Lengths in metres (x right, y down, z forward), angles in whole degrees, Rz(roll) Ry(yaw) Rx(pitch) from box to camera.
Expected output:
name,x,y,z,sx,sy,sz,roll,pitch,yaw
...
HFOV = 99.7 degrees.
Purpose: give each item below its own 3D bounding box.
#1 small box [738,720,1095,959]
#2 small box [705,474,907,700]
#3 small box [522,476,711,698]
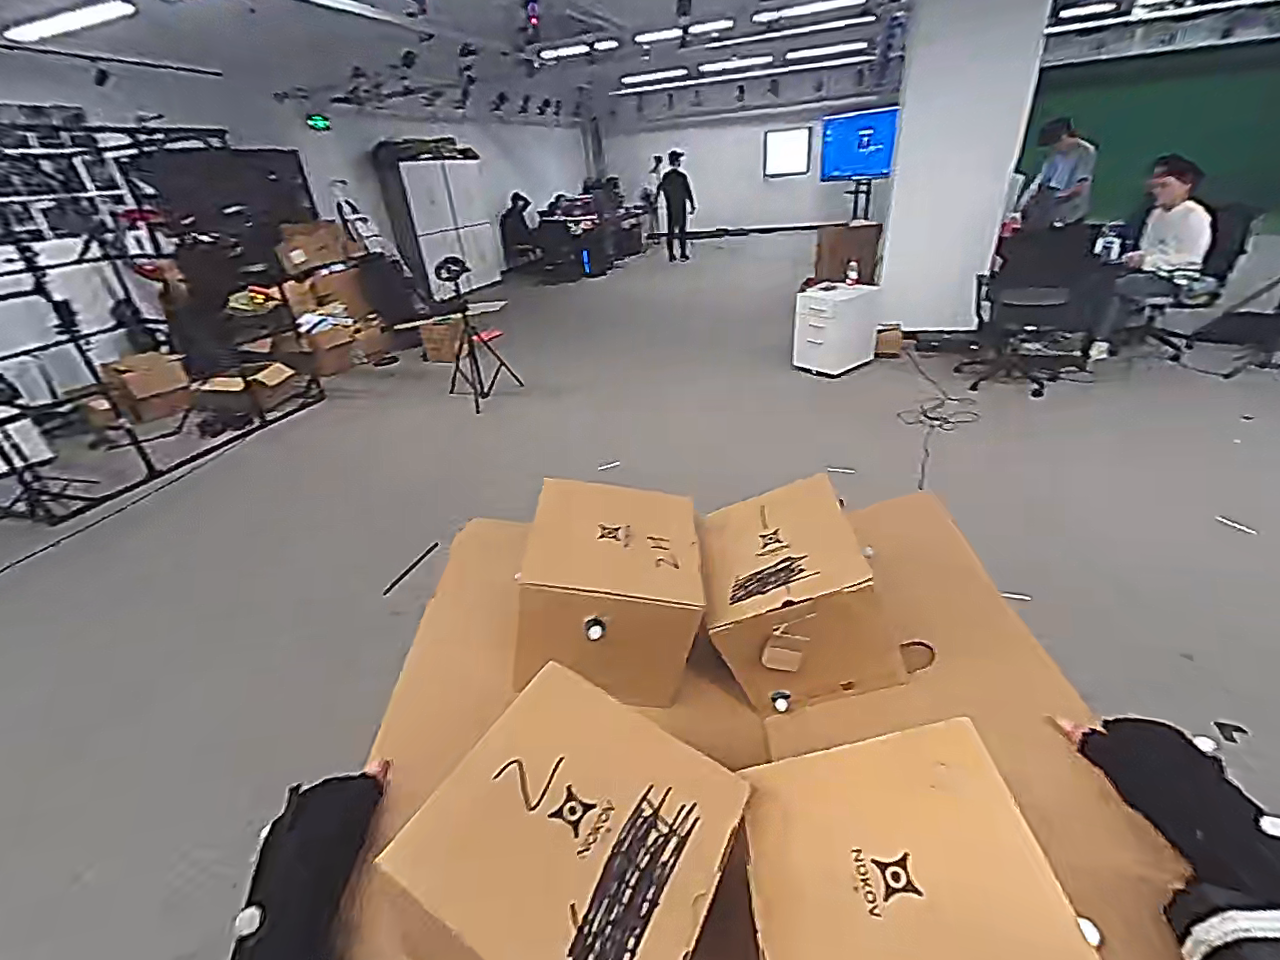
name,x,y,z,sx,sy,sz,roll,pitch,yaw
small box,0.187,0.300,0.375,0.179,0.176,0.168,-22,33,16
small box,0.184,0.128,0.619,0.168,0.176,0.179,-20,31,17
small box,-0.029,0.120,0.607,0.179,0.176,0.168,10,36,-4
